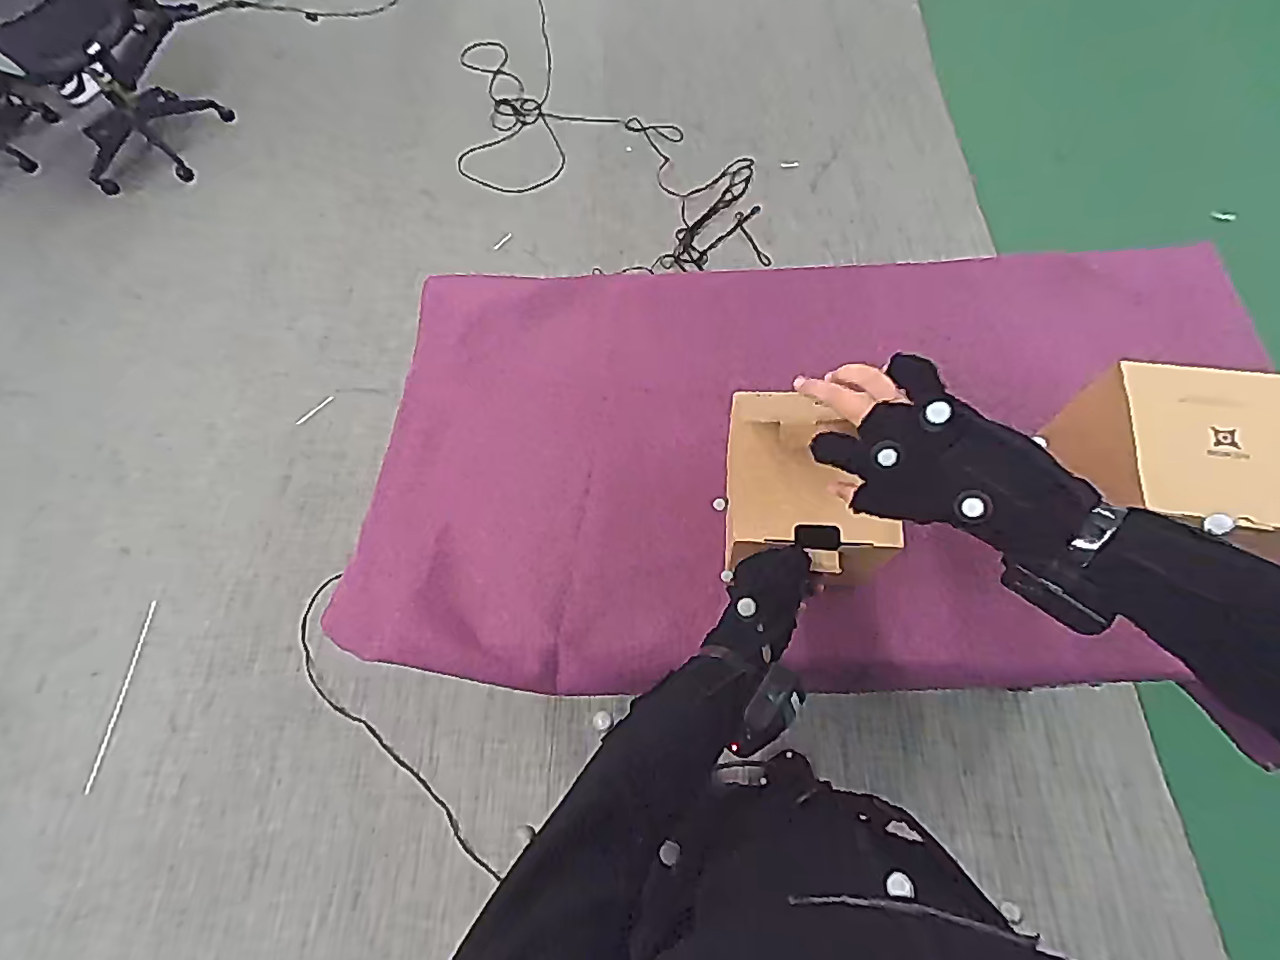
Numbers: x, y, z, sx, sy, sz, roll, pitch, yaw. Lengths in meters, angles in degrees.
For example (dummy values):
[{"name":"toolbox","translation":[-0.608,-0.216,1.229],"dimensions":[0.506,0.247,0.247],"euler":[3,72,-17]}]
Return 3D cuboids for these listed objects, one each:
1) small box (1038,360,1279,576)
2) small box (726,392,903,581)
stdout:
[{"name":"small box","translation":[0.575,-0.005,0.595],"dimensions":[0.168,0.176,0.179],"euler":[9,67,10]},{"name":"small box","translation":[0.188,0.015,0.632],"dimensions":[0.168,0.176,0.179],"euler":[2,67,7]}]
